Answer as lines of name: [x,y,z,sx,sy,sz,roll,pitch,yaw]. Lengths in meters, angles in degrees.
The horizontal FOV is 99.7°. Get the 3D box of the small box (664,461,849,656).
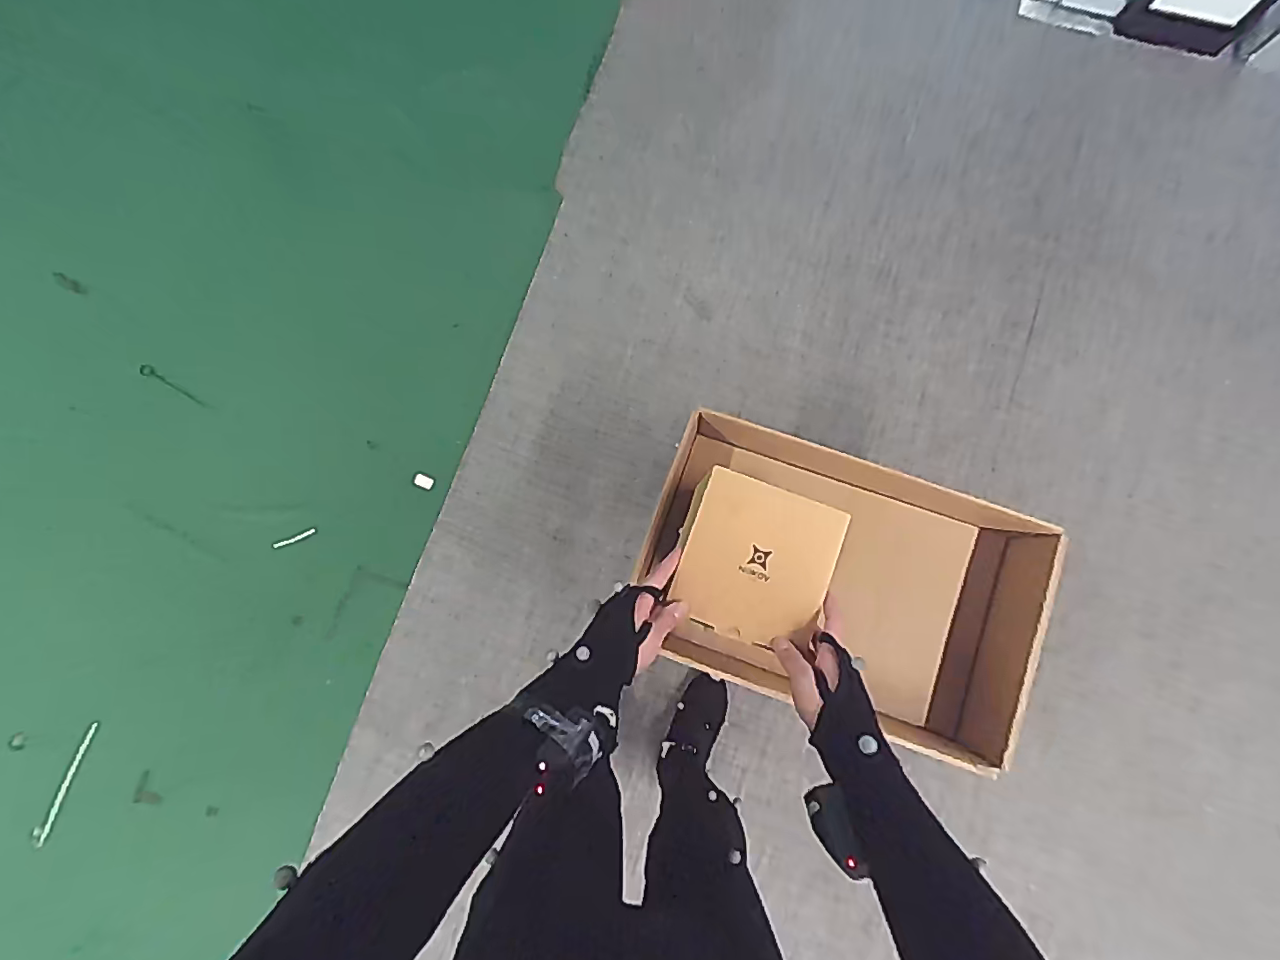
small box: [0.132,0.095,0.684,0.168,0.176,0.179,20,84,3]
